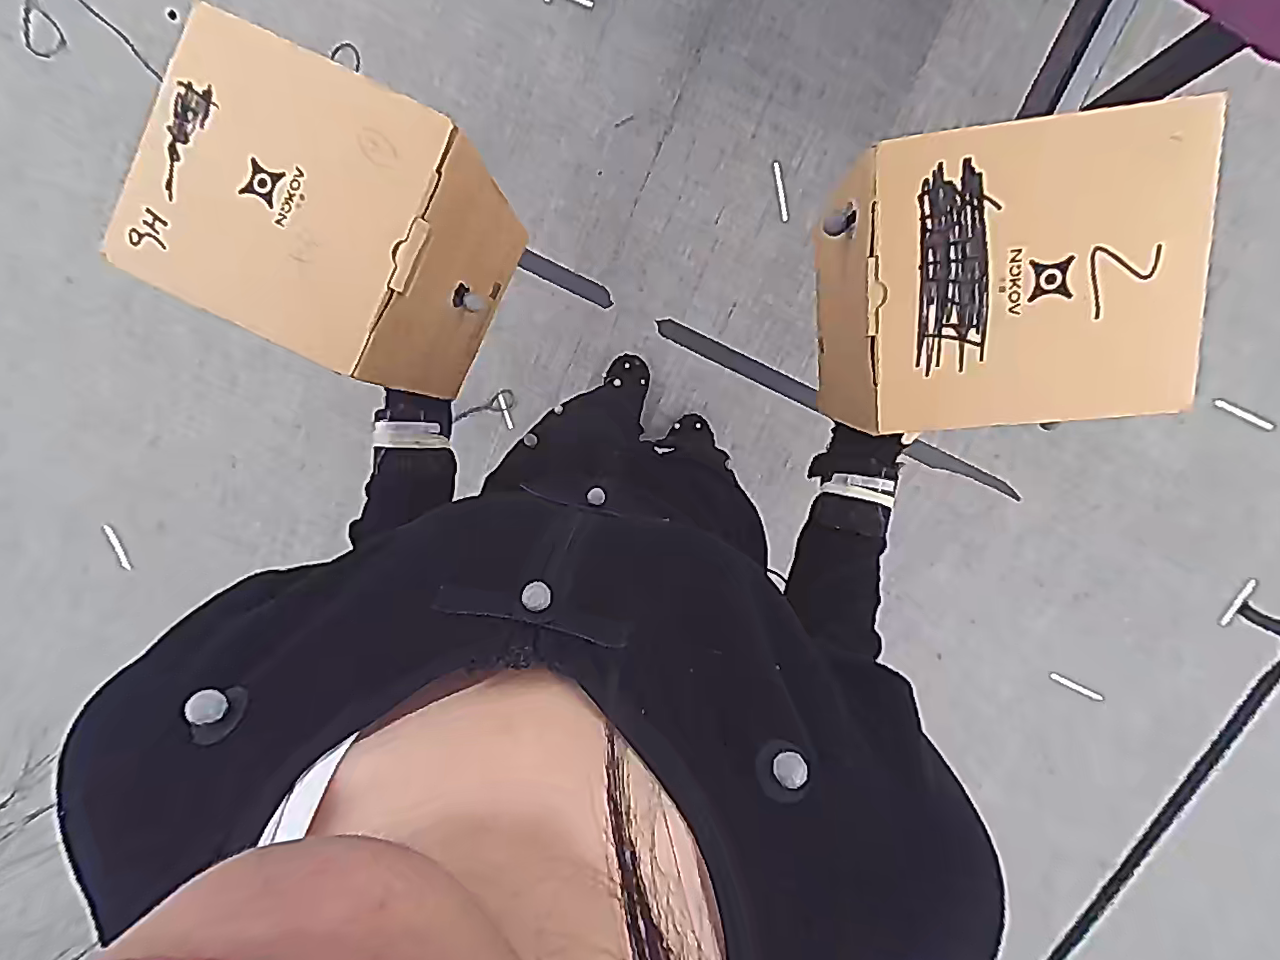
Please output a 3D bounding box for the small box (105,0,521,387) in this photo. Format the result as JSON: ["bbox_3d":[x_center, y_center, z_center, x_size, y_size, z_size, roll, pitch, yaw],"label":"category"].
[{"bbox_3d":[-0.210,-0.179,0.402,0.179,0.176,0.168,26,94,-1],"label":"small box"}]
